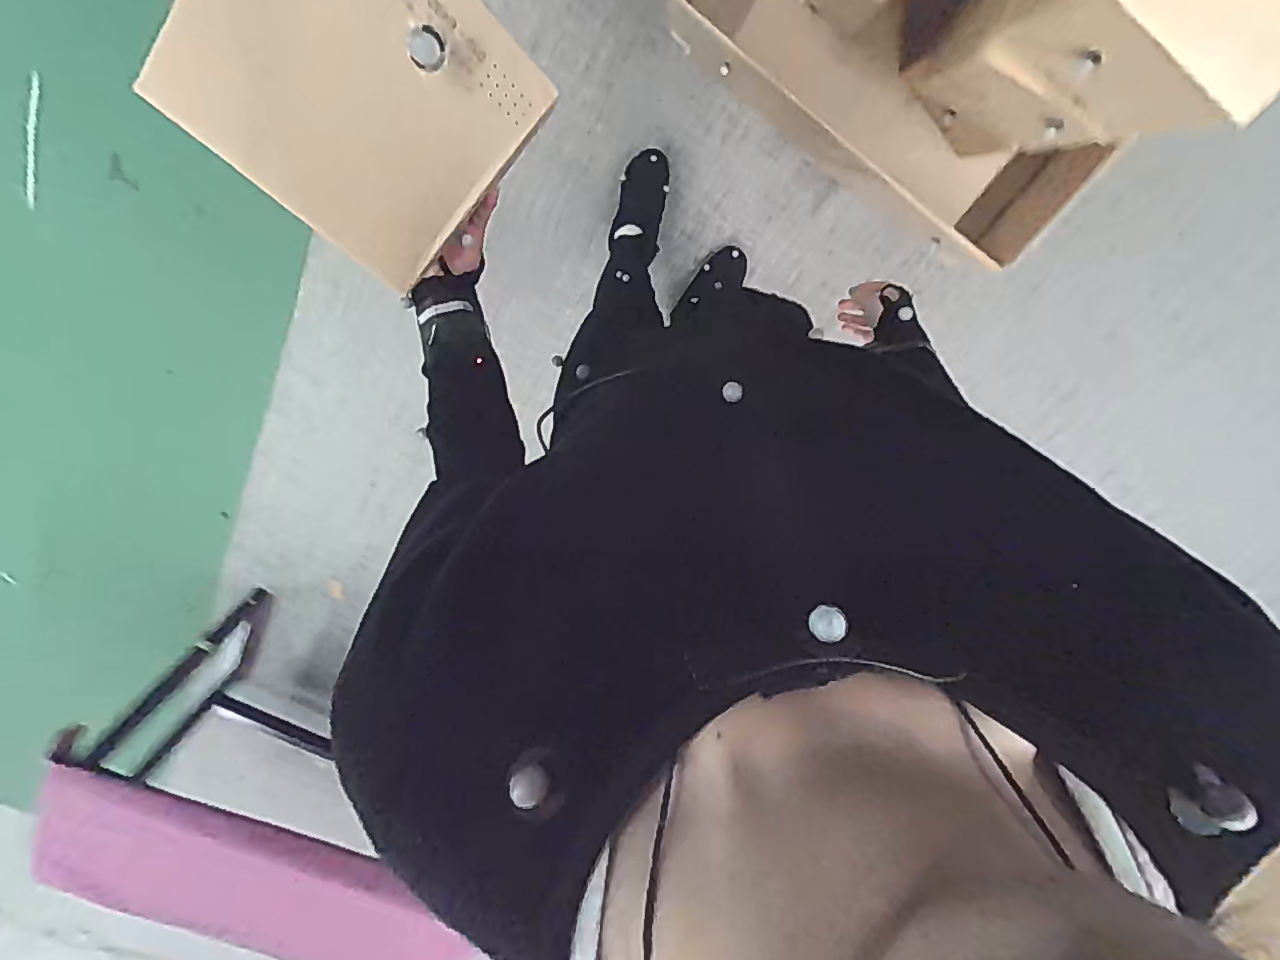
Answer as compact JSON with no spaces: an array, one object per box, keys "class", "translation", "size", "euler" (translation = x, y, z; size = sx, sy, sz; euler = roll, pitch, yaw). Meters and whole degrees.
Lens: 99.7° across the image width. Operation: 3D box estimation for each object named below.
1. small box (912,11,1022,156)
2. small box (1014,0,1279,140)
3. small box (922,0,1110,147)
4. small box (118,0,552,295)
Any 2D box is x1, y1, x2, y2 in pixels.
[{"class":"small box","translation":[0.495,-0.565,0.719],"size":[0.168,0.176,0.179],"euler":[42,114,-16]},{"class":"small box","translation":[0.448,-0.410,0.435],"size":[0.168,0.176,0.179],"euler":[32,115,-11]},{"class":"small box","translation":[0.451,-0.483,0.579],"size":[0.179,0.176,0.168],"euler":[25,116,-7]},{"class":"small box","translation":[-0.175,-0.264,0.367],"size":[0.168,0.179,0.176],"euler":[37,109,-28]}]
